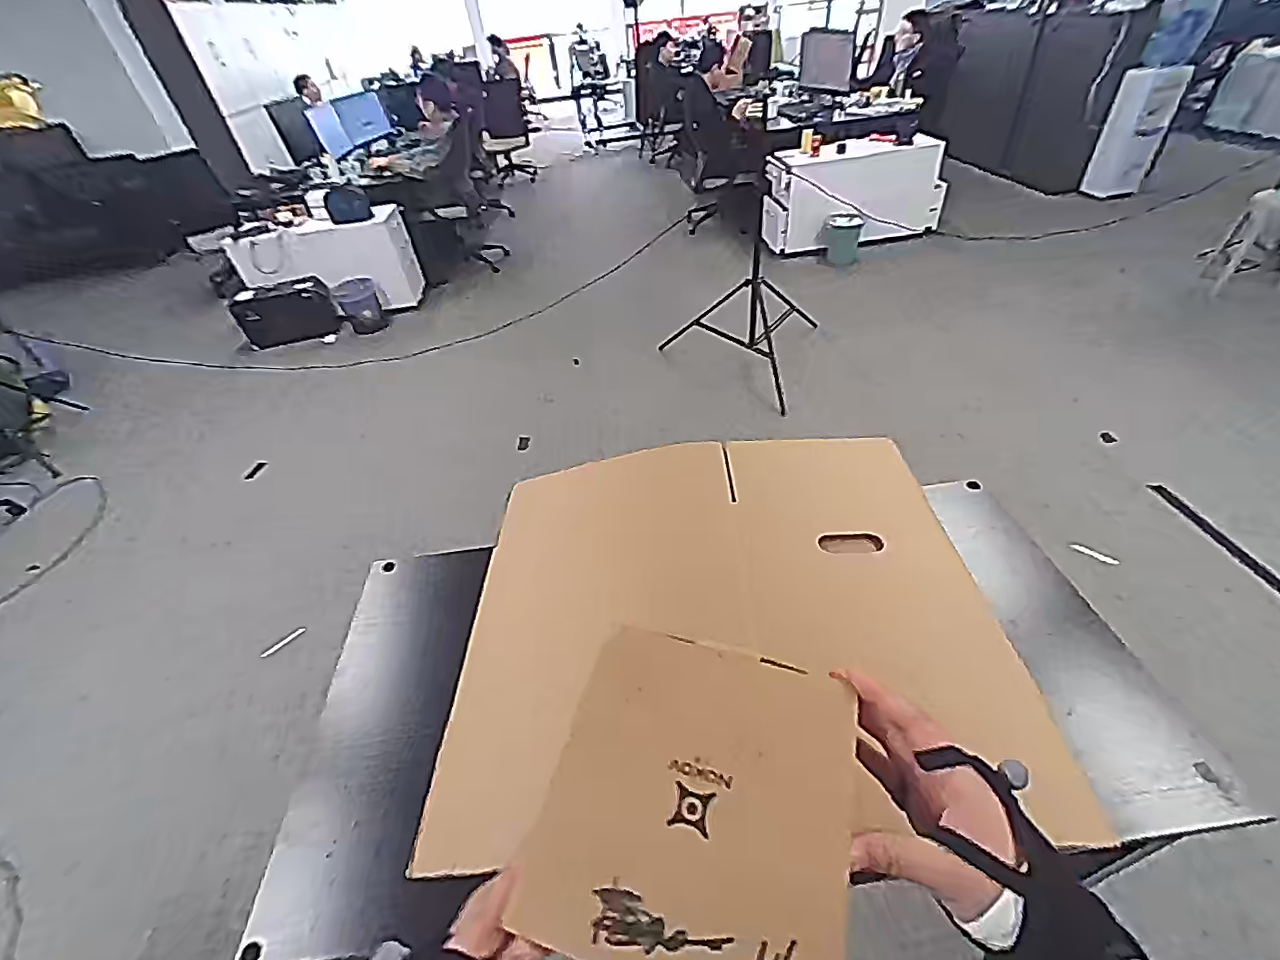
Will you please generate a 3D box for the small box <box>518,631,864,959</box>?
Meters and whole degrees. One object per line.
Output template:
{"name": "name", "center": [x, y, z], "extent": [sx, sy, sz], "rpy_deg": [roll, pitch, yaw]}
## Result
{"name": "small box", "center": [0.044, 0.236, 0.365], "extent": [0.168, 0.176, 0.179], "rpy_deg": [10, 48, 16]}
